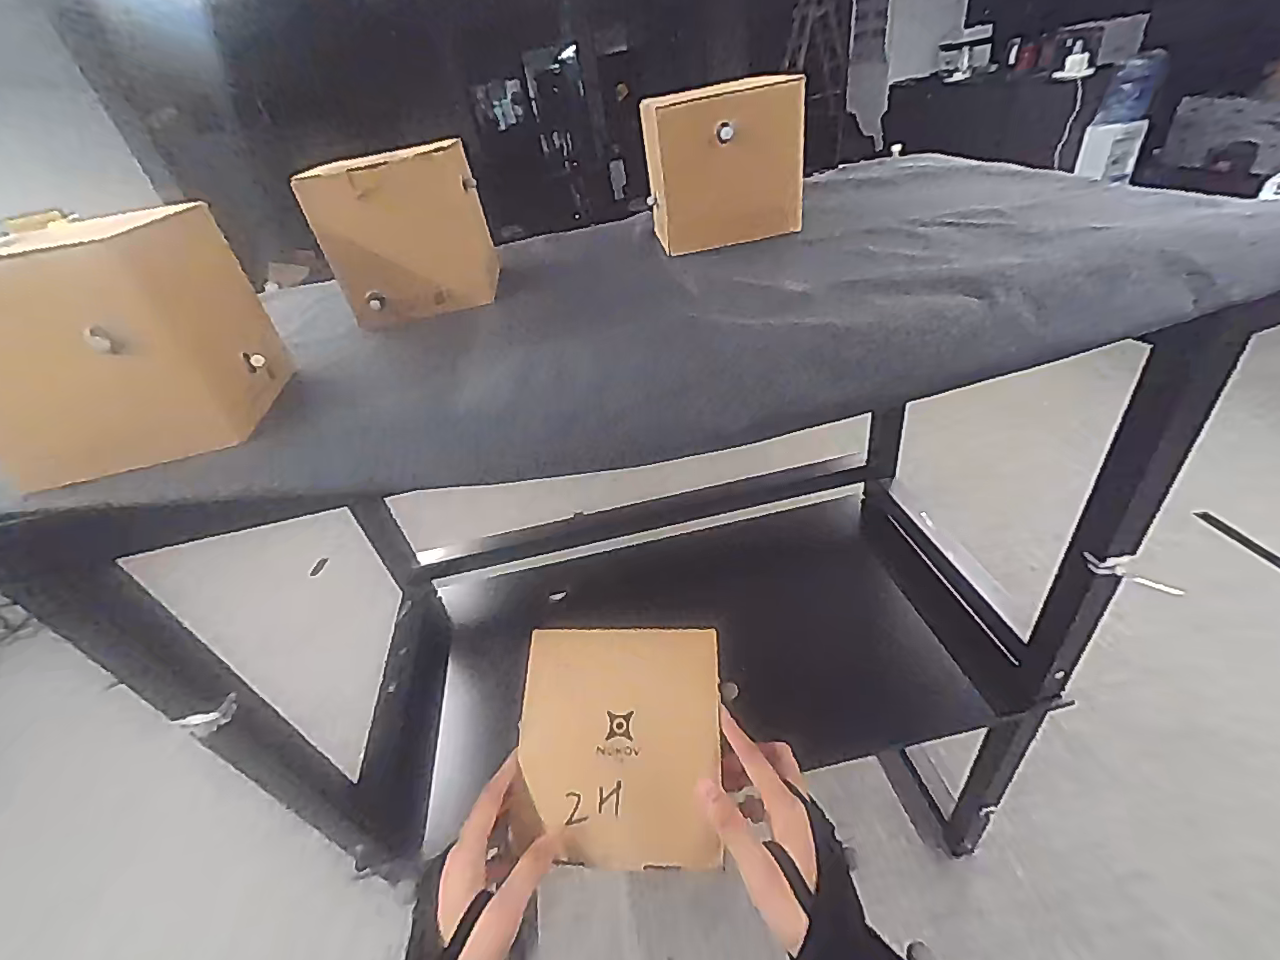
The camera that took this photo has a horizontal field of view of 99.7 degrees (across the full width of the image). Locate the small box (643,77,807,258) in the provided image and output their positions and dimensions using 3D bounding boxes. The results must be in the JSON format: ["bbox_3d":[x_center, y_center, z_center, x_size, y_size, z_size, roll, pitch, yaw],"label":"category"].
[{"bbox_3d":[0.108,-0.414,0.716,0.179,0.176,0.168,-12,36,2],"label":"small box"}]

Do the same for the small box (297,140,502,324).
[{"bbox_3d":[-0.281,-0.310,0.683,0.168,0.176,0.179,-13,36,-2],"label":"small box"}]
